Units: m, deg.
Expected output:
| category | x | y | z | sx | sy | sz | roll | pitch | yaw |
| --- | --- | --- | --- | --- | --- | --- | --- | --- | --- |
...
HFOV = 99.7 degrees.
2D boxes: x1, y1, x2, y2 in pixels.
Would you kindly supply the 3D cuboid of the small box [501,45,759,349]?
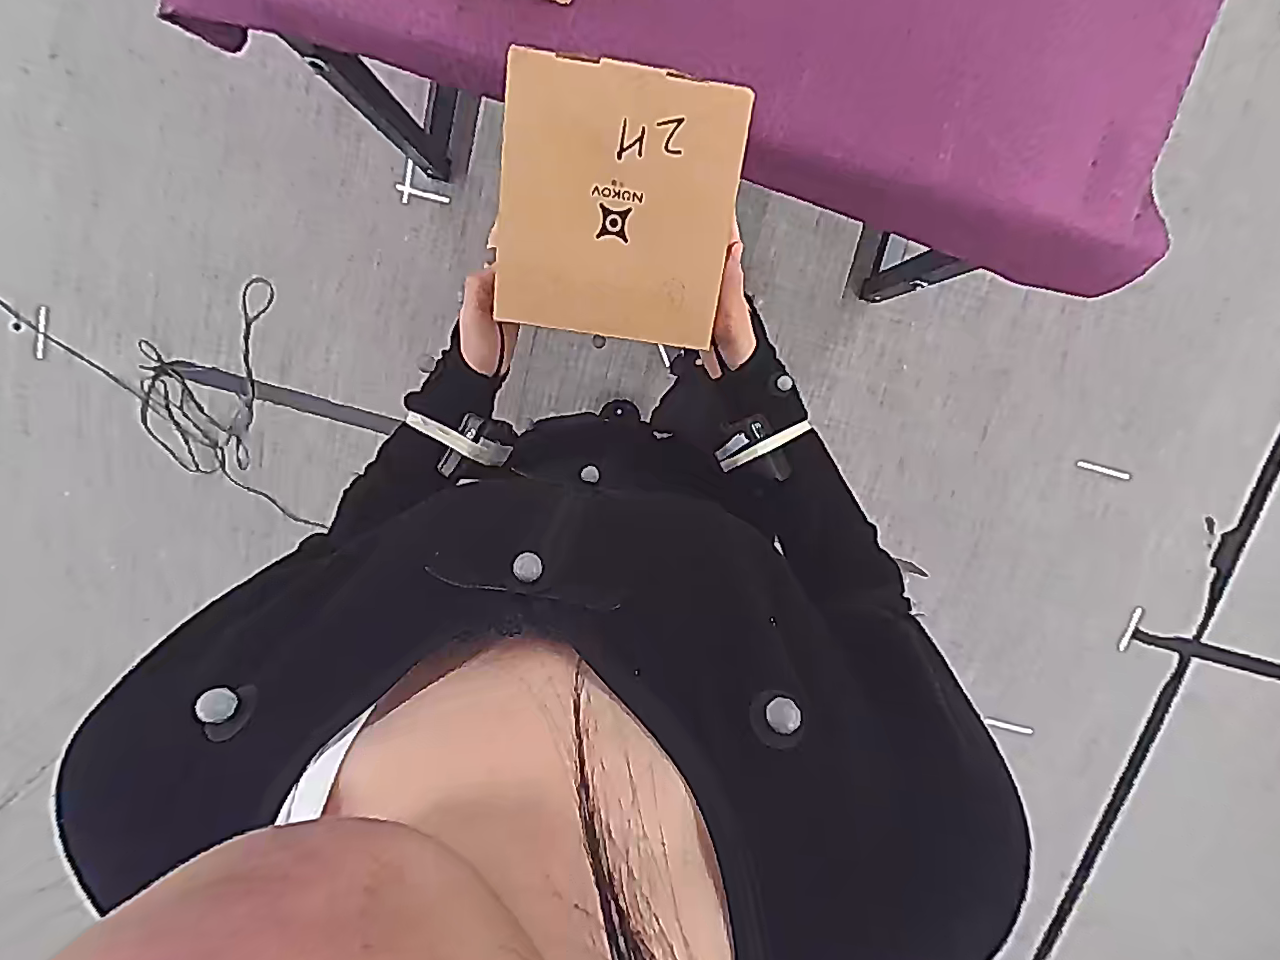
| category | x | y | z | sx | sy | sz | roll | pitch | yaw |
| --- | --- | --- | --- | --- | --- | --- | --- | --- | --- |
| small box | -0.013 | -0.218 | 0.463 | 0.168 | 0.176 | 0.179 | 8 | 107 | -5 |
